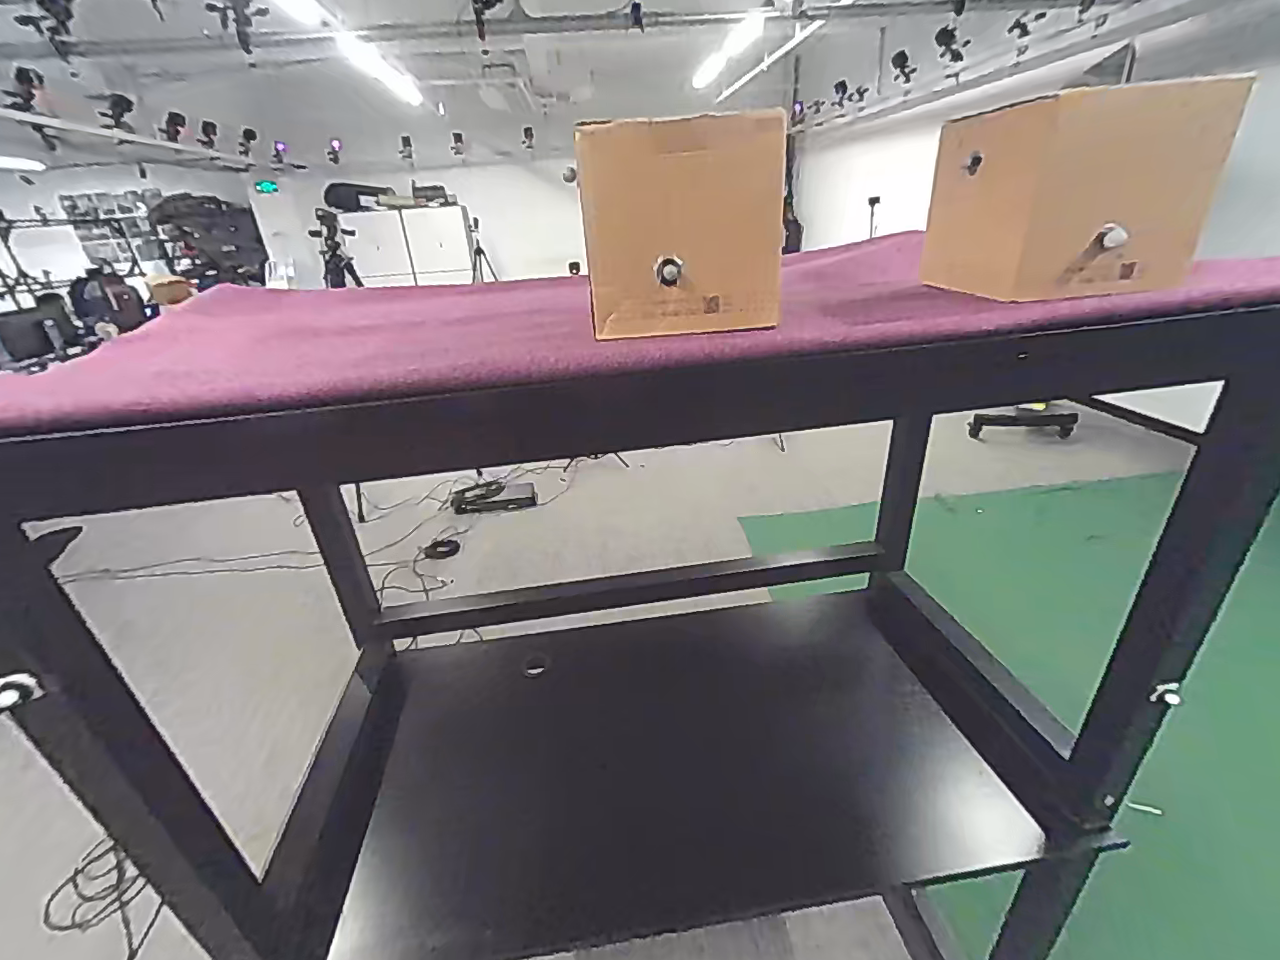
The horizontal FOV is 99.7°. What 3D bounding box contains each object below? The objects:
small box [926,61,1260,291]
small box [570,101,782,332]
[{"bbox_3d":[0.412,-0.288,0.537,0.168,0.176,0.179,-6,27,1],"label":"small box"},{"bbox_3d":[0.029,-0.242,0.519,0.168,0.176,0.179,-5,26,0],"label":"small box"}]
